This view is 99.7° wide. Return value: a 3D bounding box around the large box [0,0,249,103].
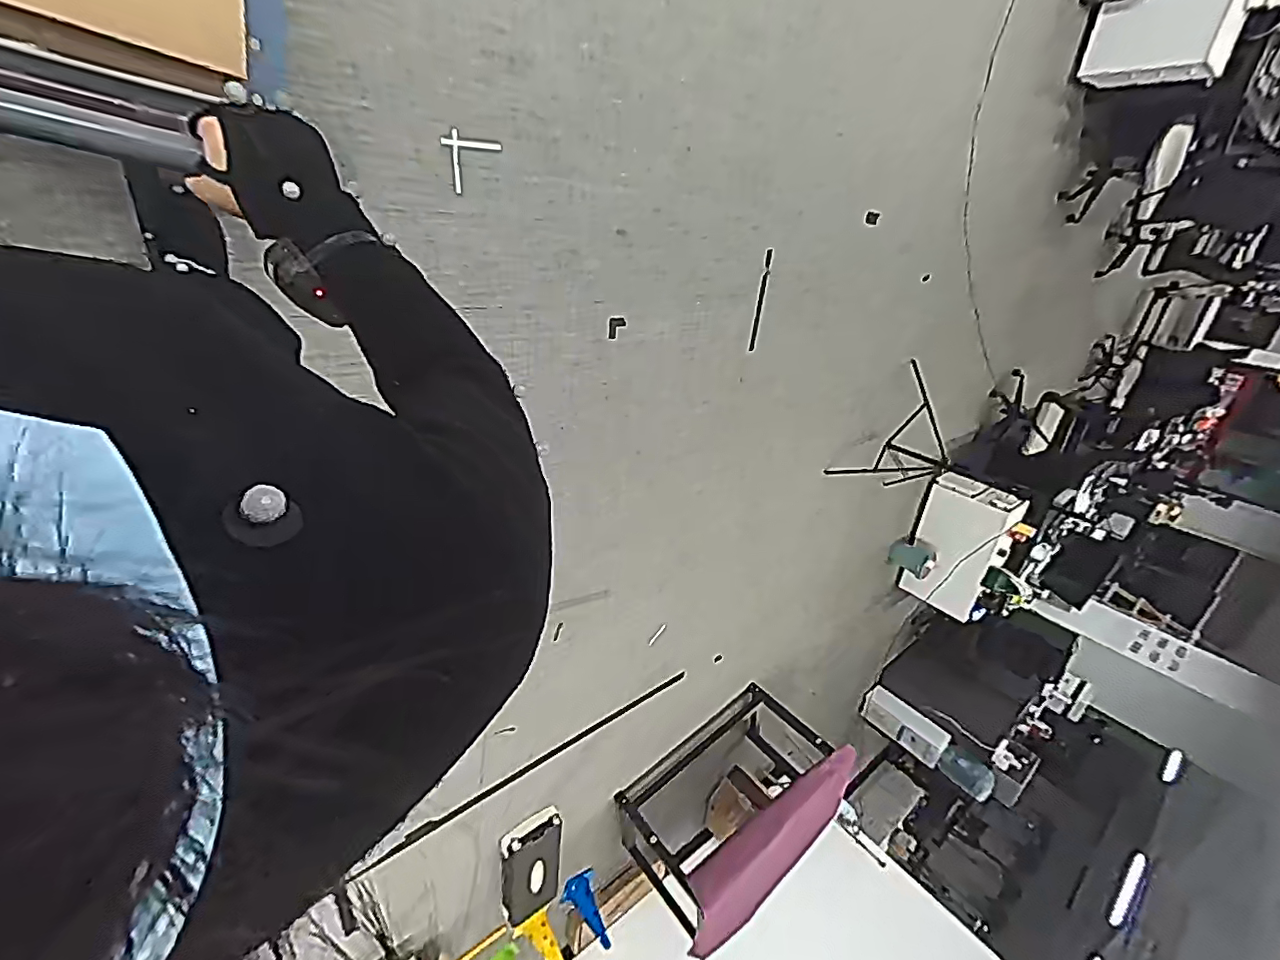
[{"bbox_3d":[-0.721,-0.683,0.614,0.408,0.320,0.320,-7,119,-42],"label":"large box"}]
